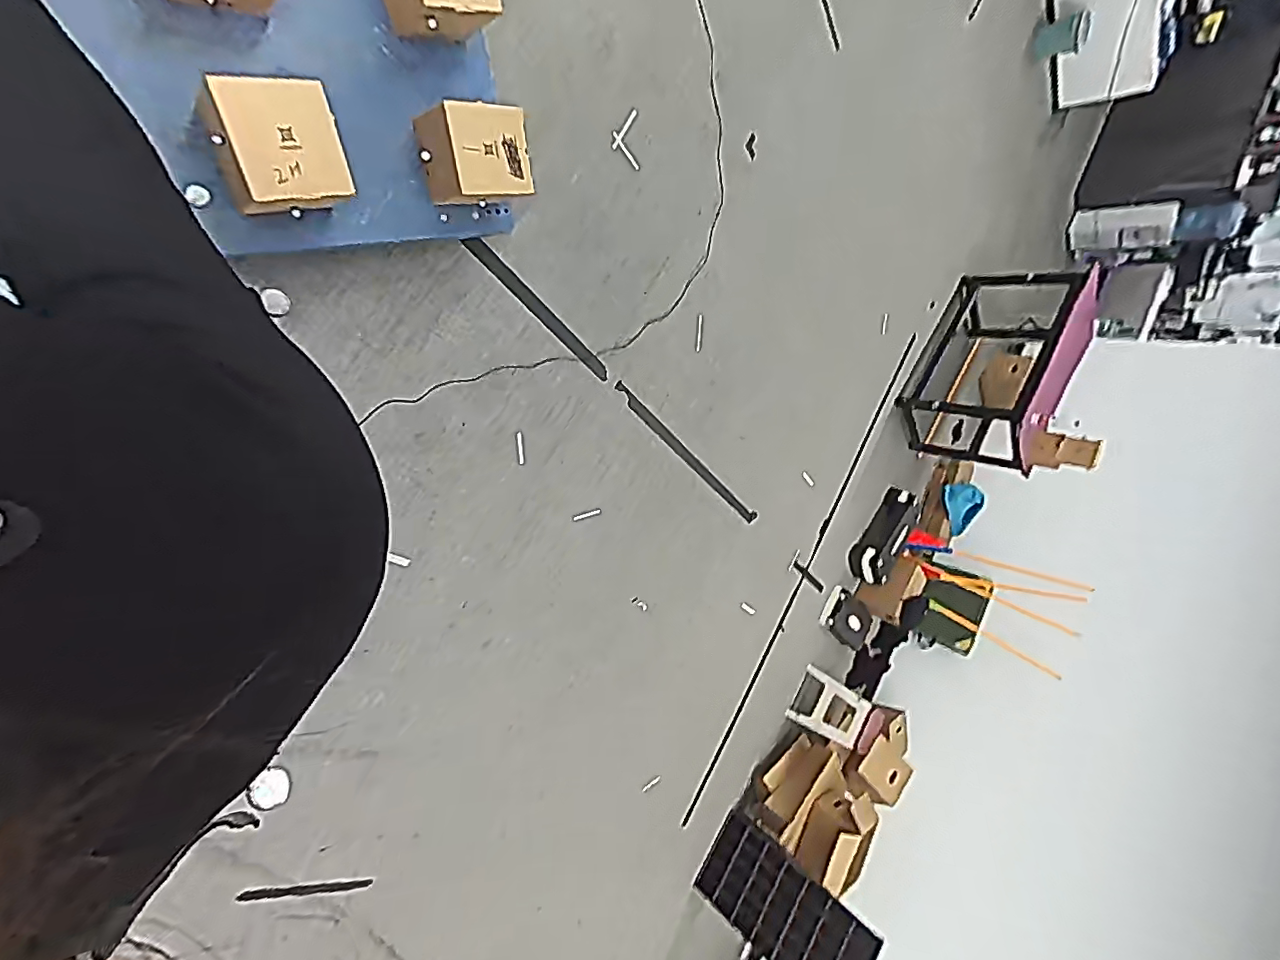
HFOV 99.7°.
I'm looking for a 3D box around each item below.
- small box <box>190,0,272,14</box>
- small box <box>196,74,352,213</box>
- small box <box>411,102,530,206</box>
[{"bbox_3d":[-0.678,-0.862,0.825,0.168,0.176,0.179,-22,121,-38],"label":"small box"},{"bbox_3d":[-0.644,-0.581,0.951,0.168,0.176,0.179,-27,121,-35],"label":"small box"},{"bbox_3d":[-0.367,-0.700,1.177,0.179,0.176,0.168,-23,119,-36],"label":"small box"}]
